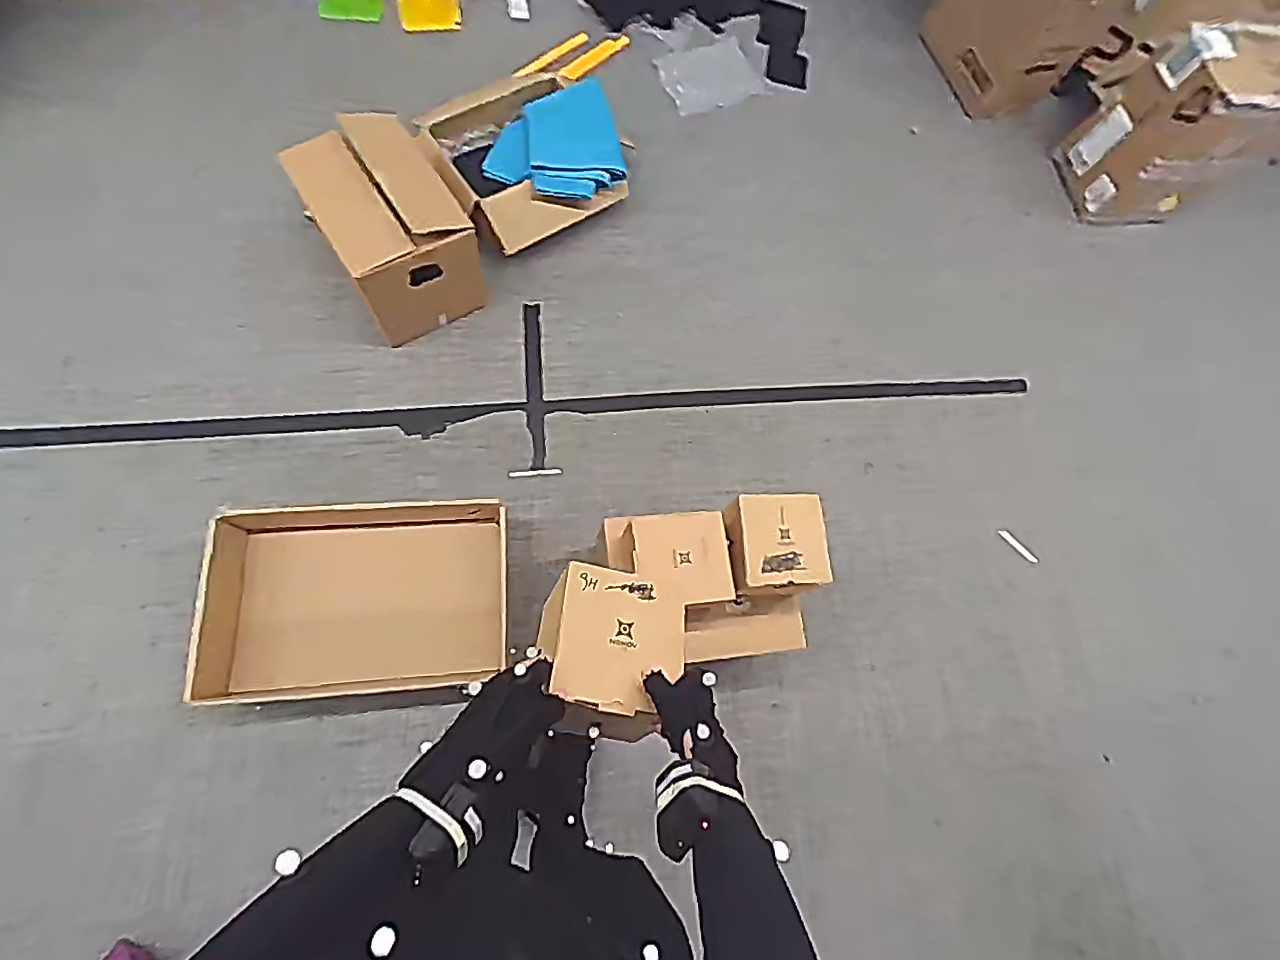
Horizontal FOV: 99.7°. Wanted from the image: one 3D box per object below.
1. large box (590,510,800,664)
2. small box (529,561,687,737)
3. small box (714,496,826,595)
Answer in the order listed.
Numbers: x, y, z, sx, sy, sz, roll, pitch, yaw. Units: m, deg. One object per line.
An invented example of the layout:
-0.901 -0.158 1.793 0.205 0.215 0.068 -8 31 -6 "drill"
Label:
0.105 0.267 1.292 0.408 0.320 0.320 -4 74 -11 "large box"
-0.047 0.239 0.739 0.168 0.176 0.179 16 52 -13 "small box"
0.254 0.140 1.096 0.168 0.176 0.179 0 71 -8 "small box"
